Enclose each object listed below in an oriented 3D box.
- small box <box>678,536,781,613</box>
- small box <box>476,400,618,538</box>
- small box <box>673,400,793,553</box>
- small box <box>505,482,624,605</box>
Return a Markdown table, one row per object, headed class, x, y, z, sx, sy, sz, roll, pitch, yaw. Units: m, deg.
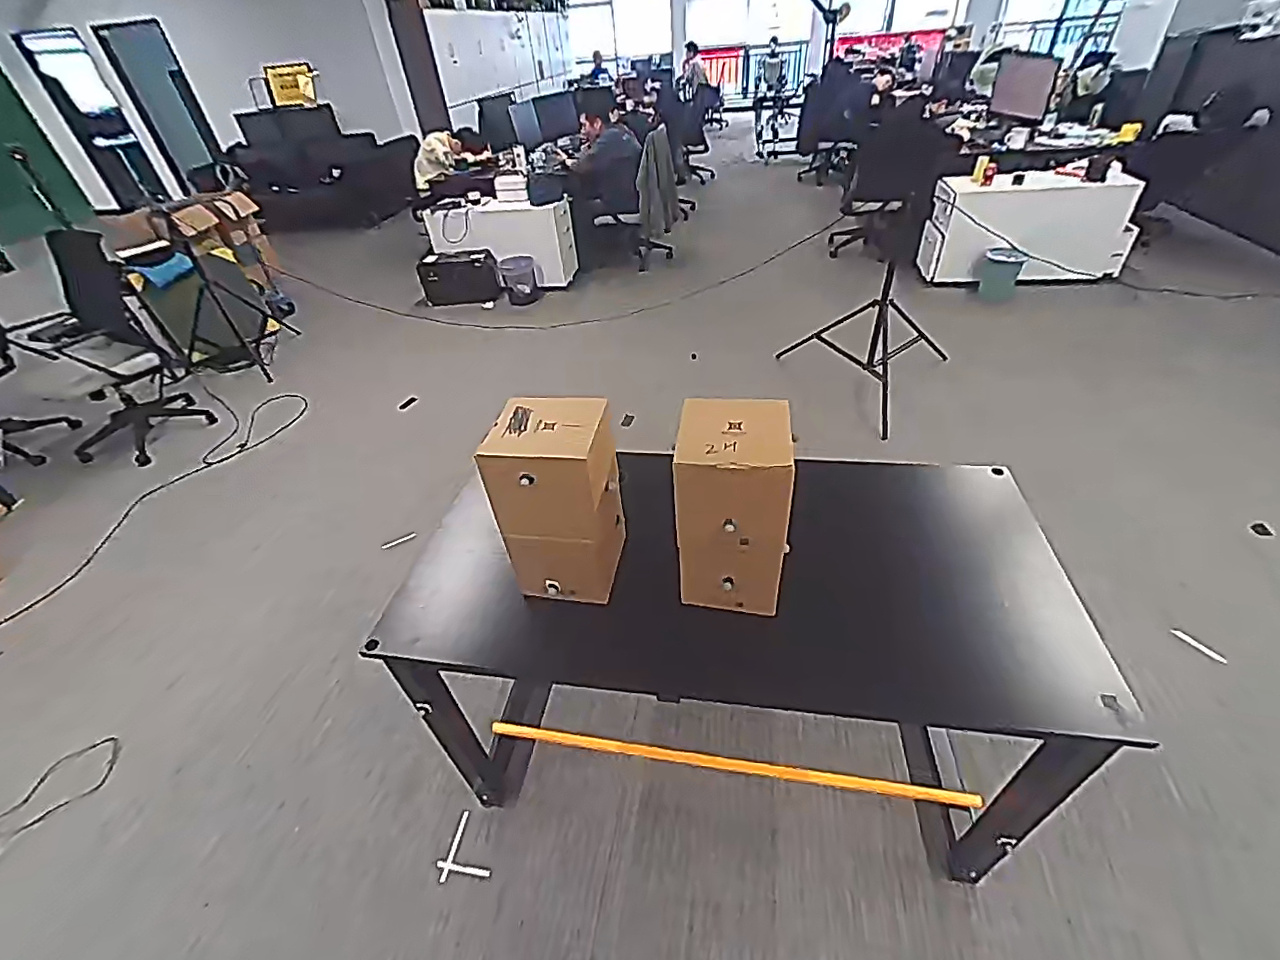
| class | x | y | z | sx | sy | sz | roll | pitch | yaw |
| --- | --- | --- | --- | --- | --- | --- | --- | --- | --- |
| small box | 0.166 | 0.113 | 0.962 | 0.168 | 0.176 | 0.179 | 5 | 41 | 13 |
| small box | -0.142 | -0.019 | 0.901 | 0.179 | 0.176 | 0.168 | 2 | 40 | 10 |
| small box | 0.145 | -0.009 | 0.852 | 0.168 | 0.176 | 0.179 | 2 | 40 | 10 |
| small box | -0.129 | 0.107 | 1.007 | 0.168 | 0.176 | 0.179 | 2 | 41 | 11 |
